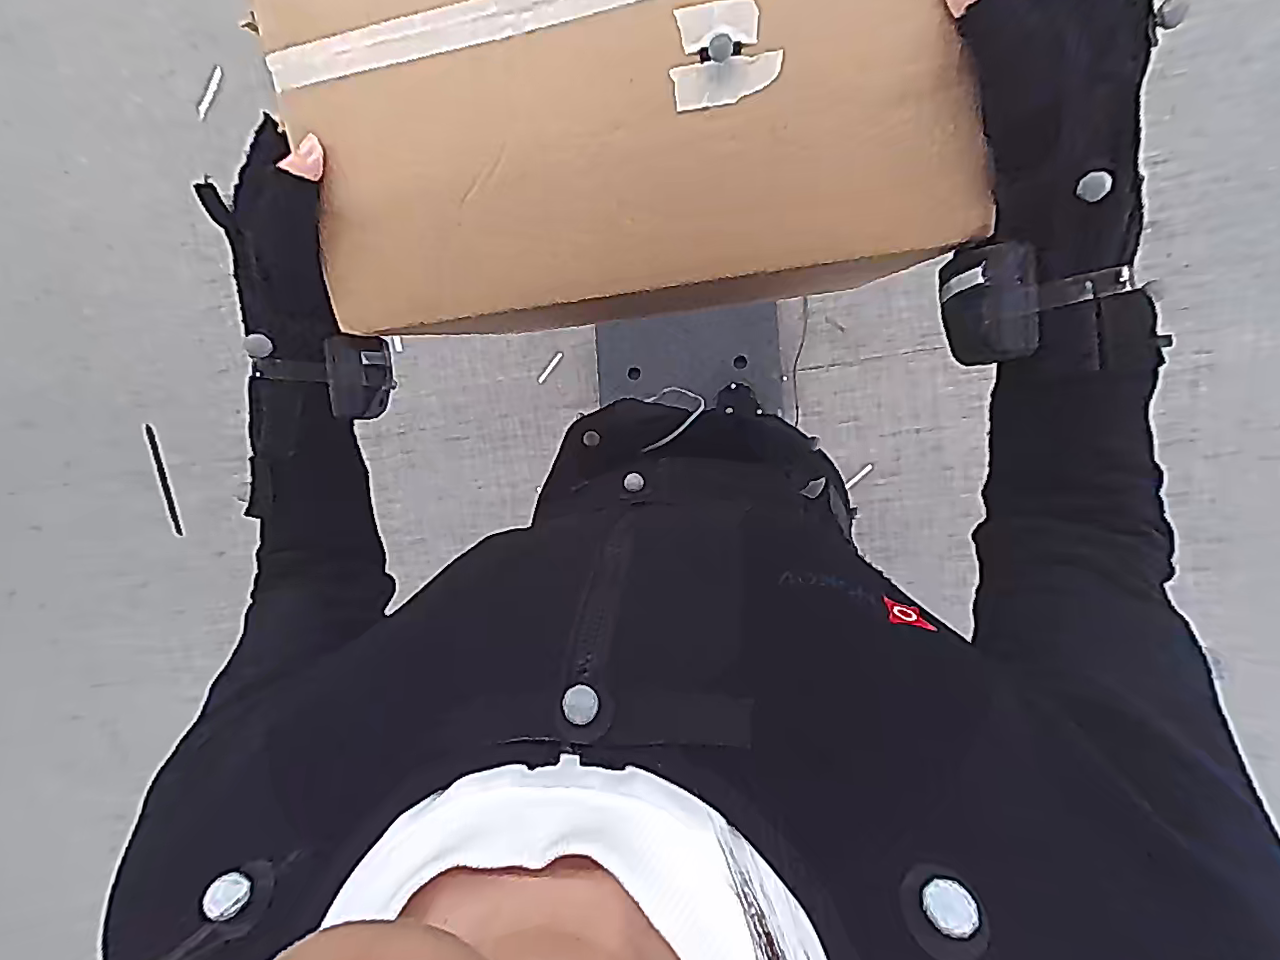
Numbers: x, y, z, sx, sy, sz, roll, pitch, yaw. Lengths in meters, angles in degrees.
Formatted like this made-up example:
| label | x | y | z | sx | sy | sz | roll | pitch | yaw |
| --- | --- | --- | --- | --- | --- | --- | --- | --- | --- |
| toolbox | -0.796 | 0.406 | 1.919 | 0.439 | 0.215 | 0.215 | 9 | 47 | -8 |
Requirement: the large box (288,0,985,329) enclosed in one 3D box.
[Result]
| label | x | y | z | sx | sy | sz | roll | pitch | yaw |
| --- | --- | --- | --- | --- | --- | --- | --- | --- | --- |
| large box | 0.001 | -0.314 | 0.451 | 0.408 | 0.320 | 0.320 | -5 | 105 | 10 |
